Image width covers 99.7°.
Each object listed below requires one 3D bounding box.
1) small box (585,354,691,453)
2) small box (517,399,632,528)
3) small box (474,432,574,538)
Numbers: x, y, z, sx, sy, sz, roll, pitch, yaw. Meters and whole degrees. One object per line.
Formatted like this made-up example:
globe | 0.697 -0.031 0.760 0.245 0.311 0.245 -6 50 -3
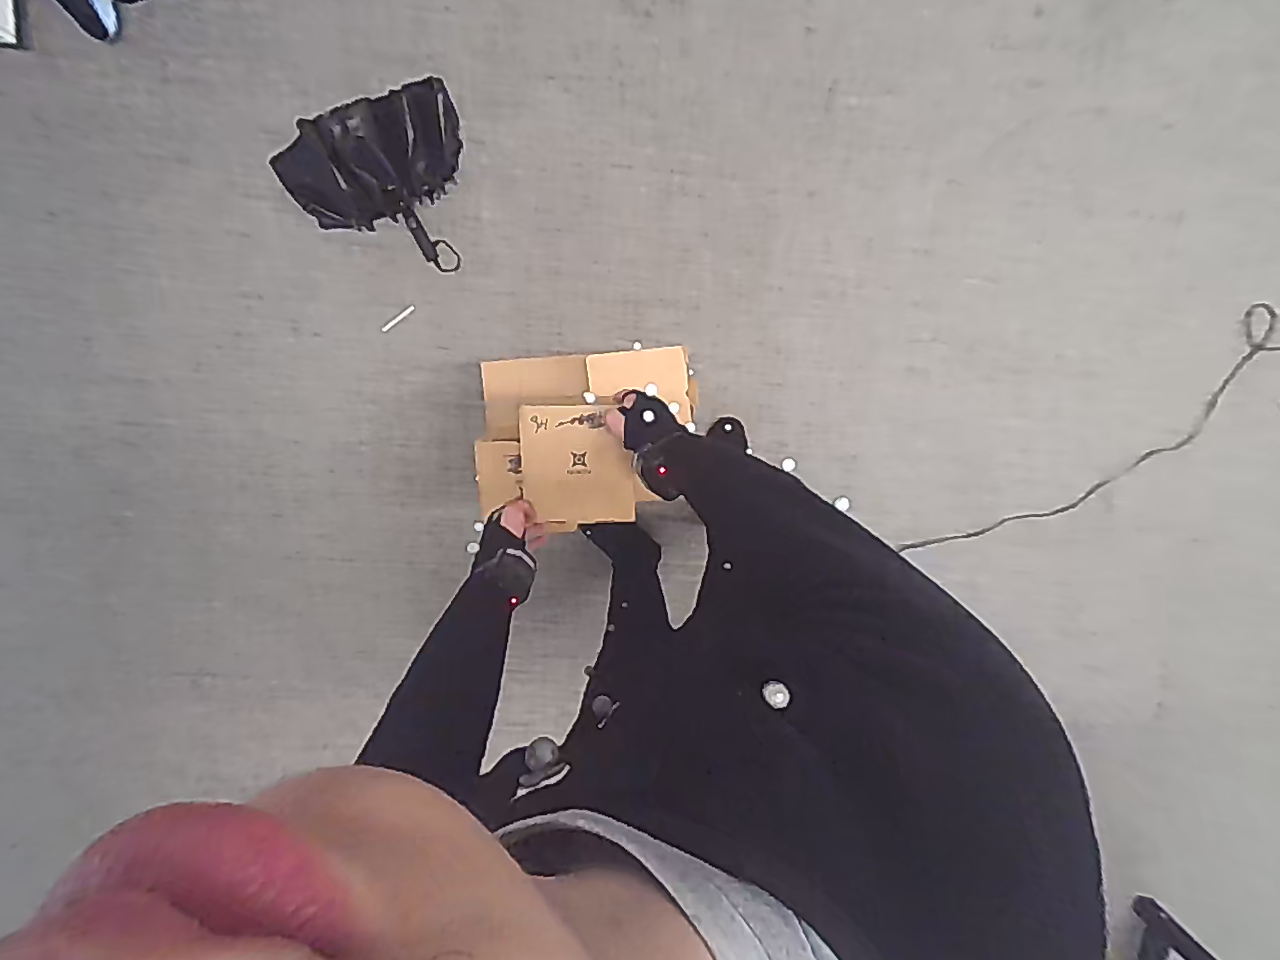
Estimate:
small box | -0.005 -0.143 1.016 0.179 0.176 0.168 -6 99 0
small box | -0.098 -0.033 0.863 0.168 0.176 0.179 1 103 -3
small box | -0.210 0.001 1.032 0.168 0.176 0.179 -2 103 -2
